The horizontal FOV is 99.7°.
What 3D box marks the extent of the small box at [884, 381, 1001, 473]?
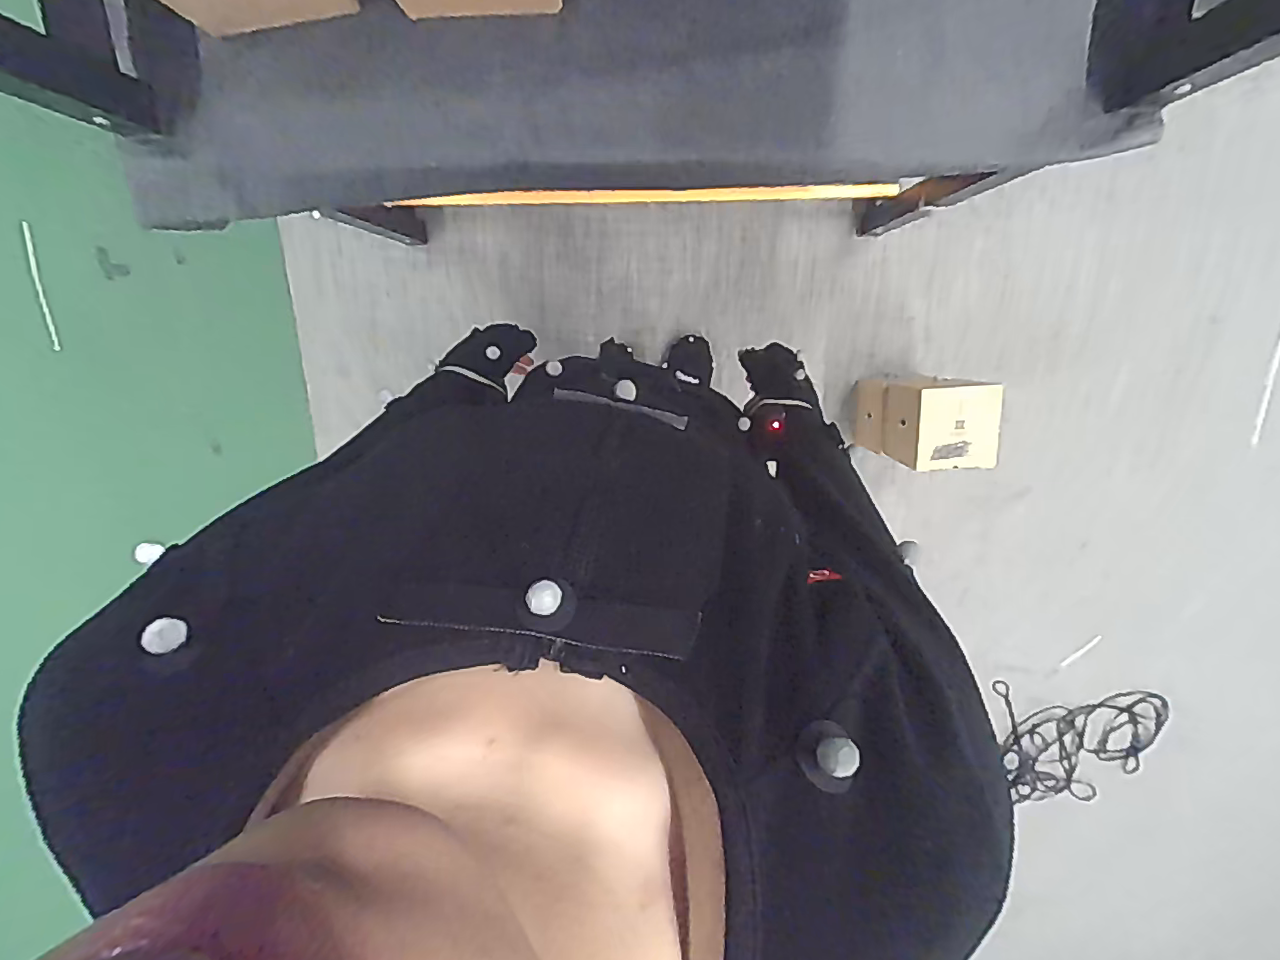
[{"bbox_3d":[0.653,-0.121,1.188,0.168,0.176,0.179,-3,104,3],"label":"small box"}]
